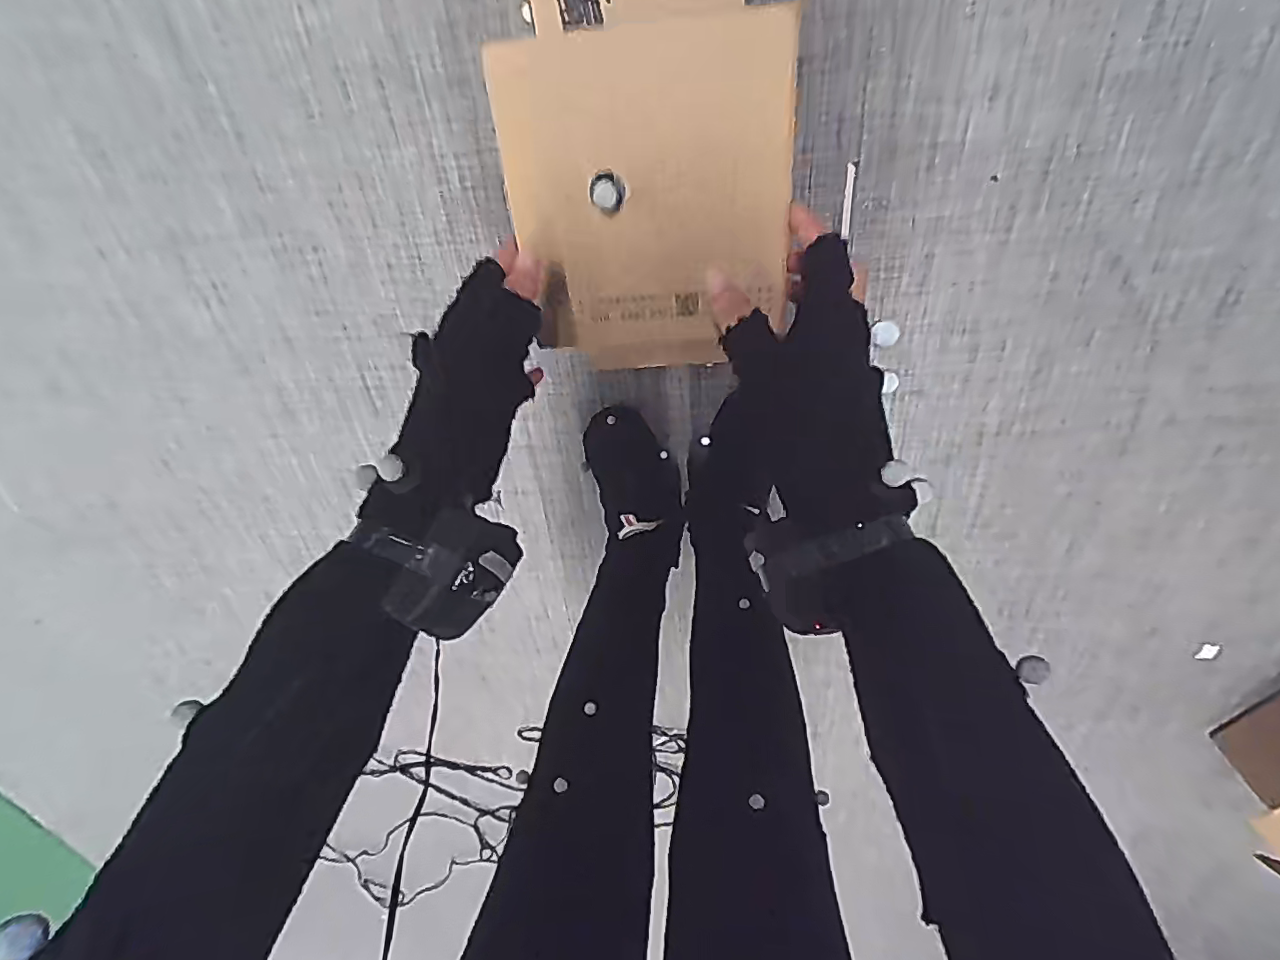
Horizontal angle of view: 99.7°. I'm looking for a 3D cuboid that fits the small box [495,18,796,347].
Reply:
[{"bbox_3d":[0.019,-0.202,0.392,0.168,0.179,0.176,-2,123,8],"label":"small box"}]
